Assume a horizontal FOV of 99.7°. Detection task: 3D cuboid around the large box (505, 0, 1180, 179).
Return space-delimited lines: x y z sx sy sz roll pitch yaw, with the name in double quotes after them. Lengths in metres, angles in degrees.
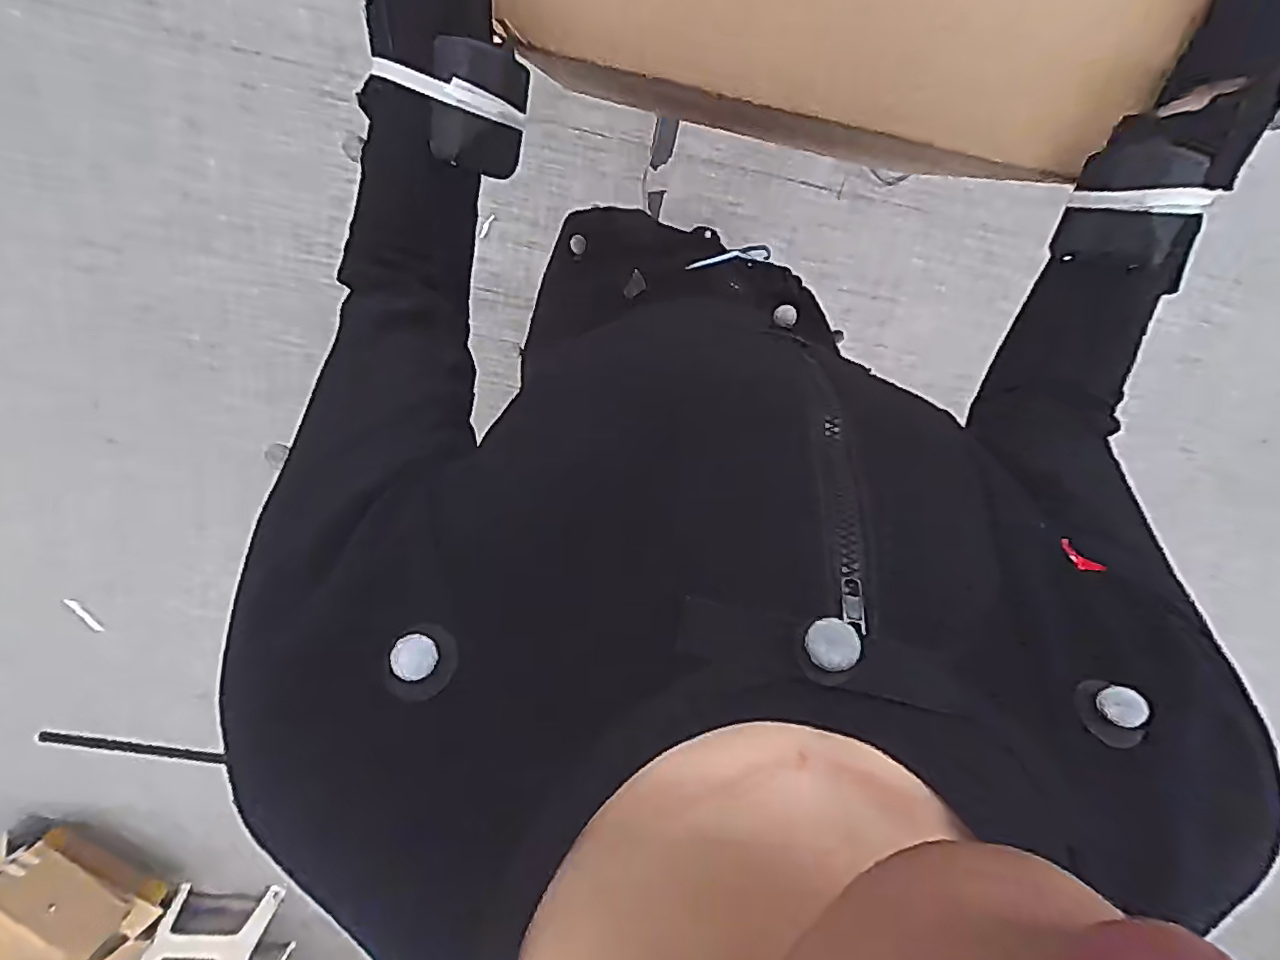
0.135 -0.441 0.401 0.408 0.320 0.320 9 122 -7 "large box"
